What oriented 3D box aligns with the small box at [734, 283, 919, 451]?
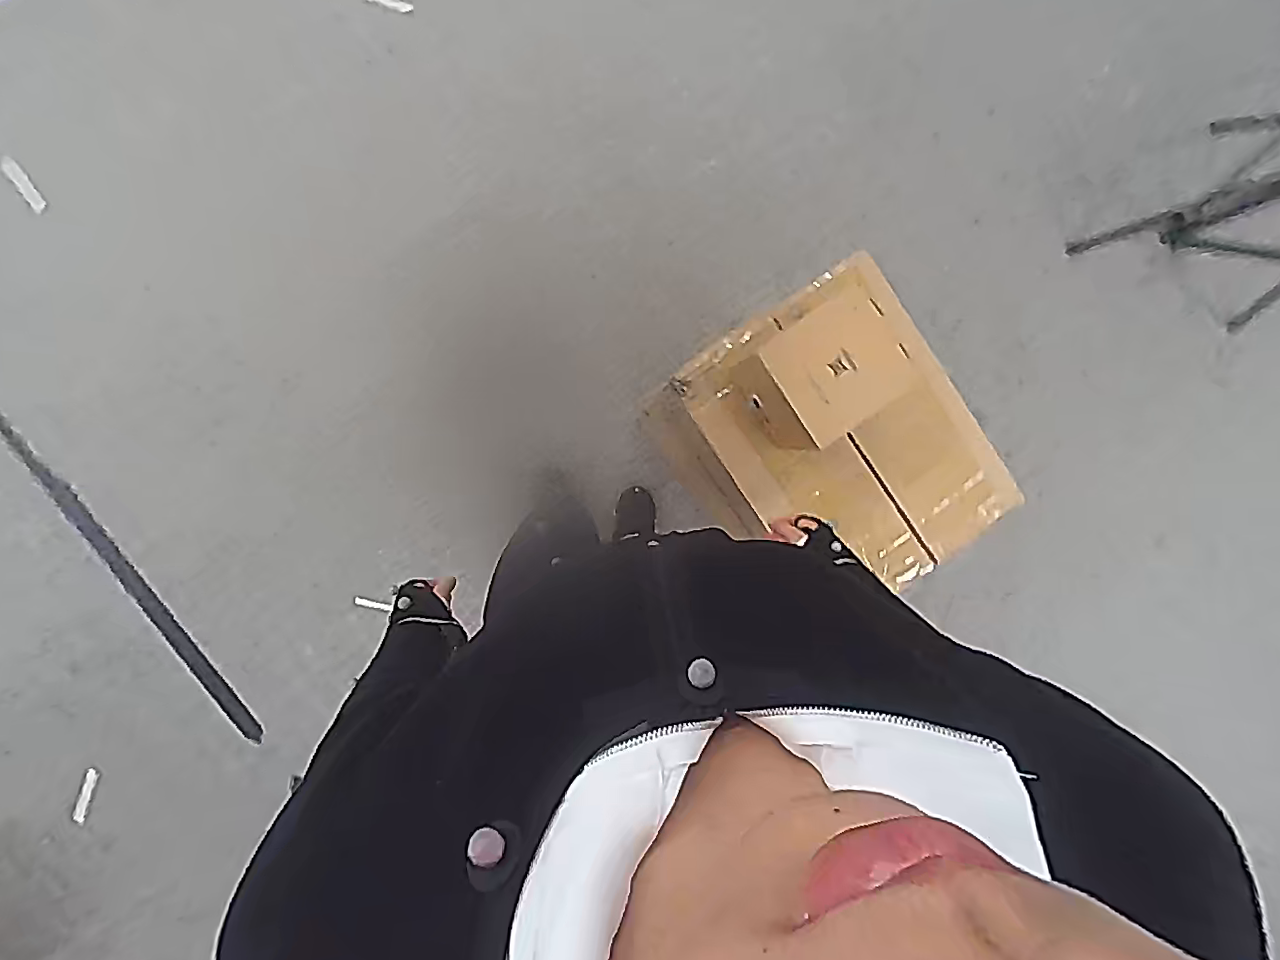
[{"bbox_3d":[0.266,-0.159,0.815,0.179,0.176,0.168,-35,93,0],"label":"small box"}]
